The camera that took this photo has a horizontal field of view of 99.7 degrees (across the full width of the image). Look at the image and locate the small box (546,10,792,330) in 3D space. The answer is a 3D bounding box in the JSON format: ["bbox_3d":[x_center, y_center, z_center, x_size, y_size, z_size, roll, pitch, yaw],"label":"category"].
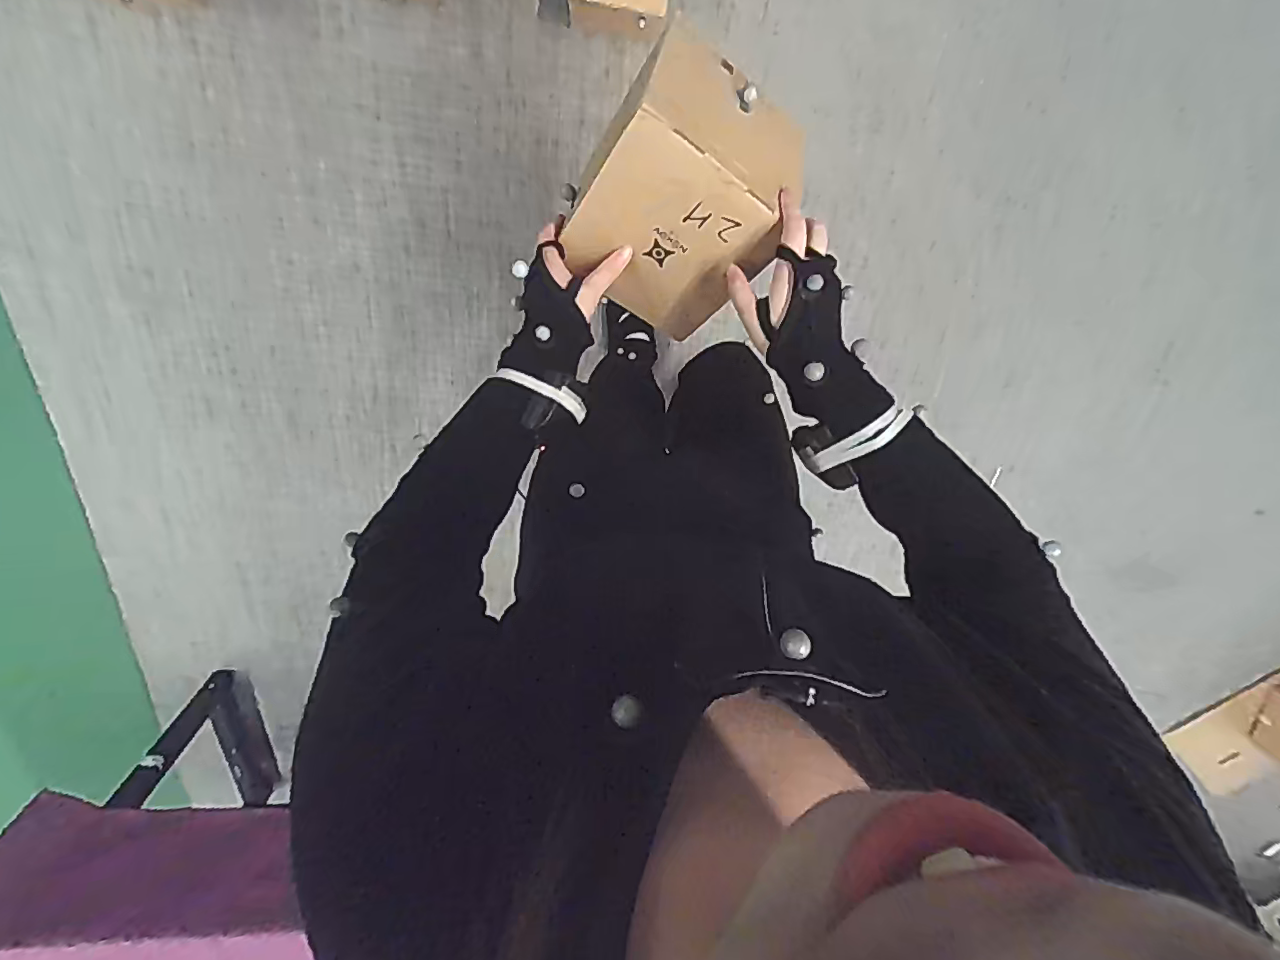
[{"bbox_3d":[0.033,-0.293,0.534,0.168,0.176,0.179,26,148,-23],"label":"small box"}]

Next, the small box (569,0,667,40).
[{"bbox_3d":[-0.038,-0.929,0.976,0.179,0.176,0.168,3,115,-7],"label":"small box"}]
